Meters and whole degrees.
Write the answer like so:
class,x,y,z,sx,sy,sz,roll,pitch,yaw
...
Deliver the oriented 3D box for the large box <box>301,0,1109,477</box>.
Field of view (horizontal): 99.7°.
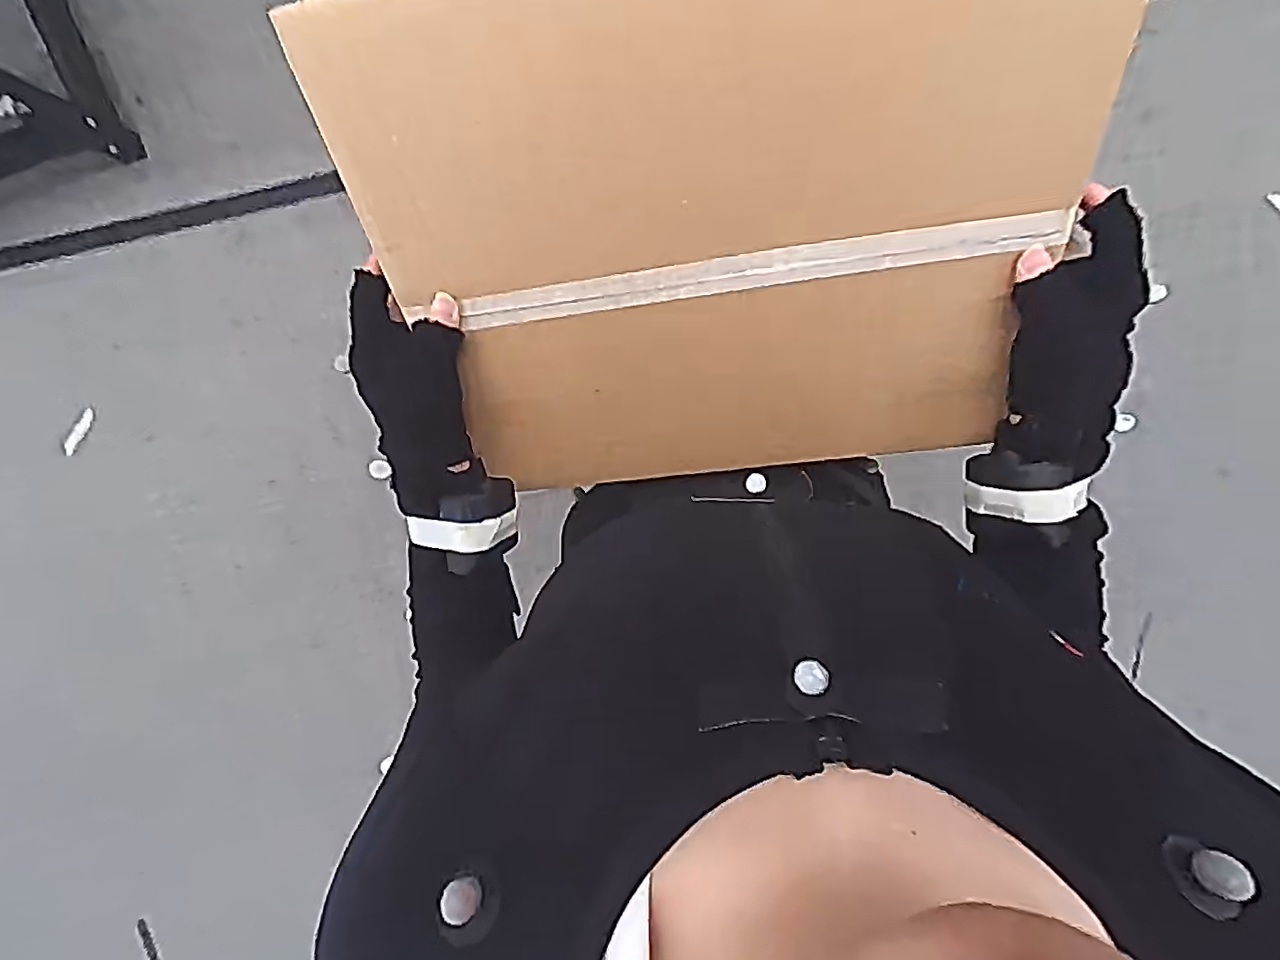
class,x,y,z,sx,sy,sz,roll,pitch,yaw
large box,0.045,-0.235,0.457,0.408,0.320,0.320,-6,131,6
